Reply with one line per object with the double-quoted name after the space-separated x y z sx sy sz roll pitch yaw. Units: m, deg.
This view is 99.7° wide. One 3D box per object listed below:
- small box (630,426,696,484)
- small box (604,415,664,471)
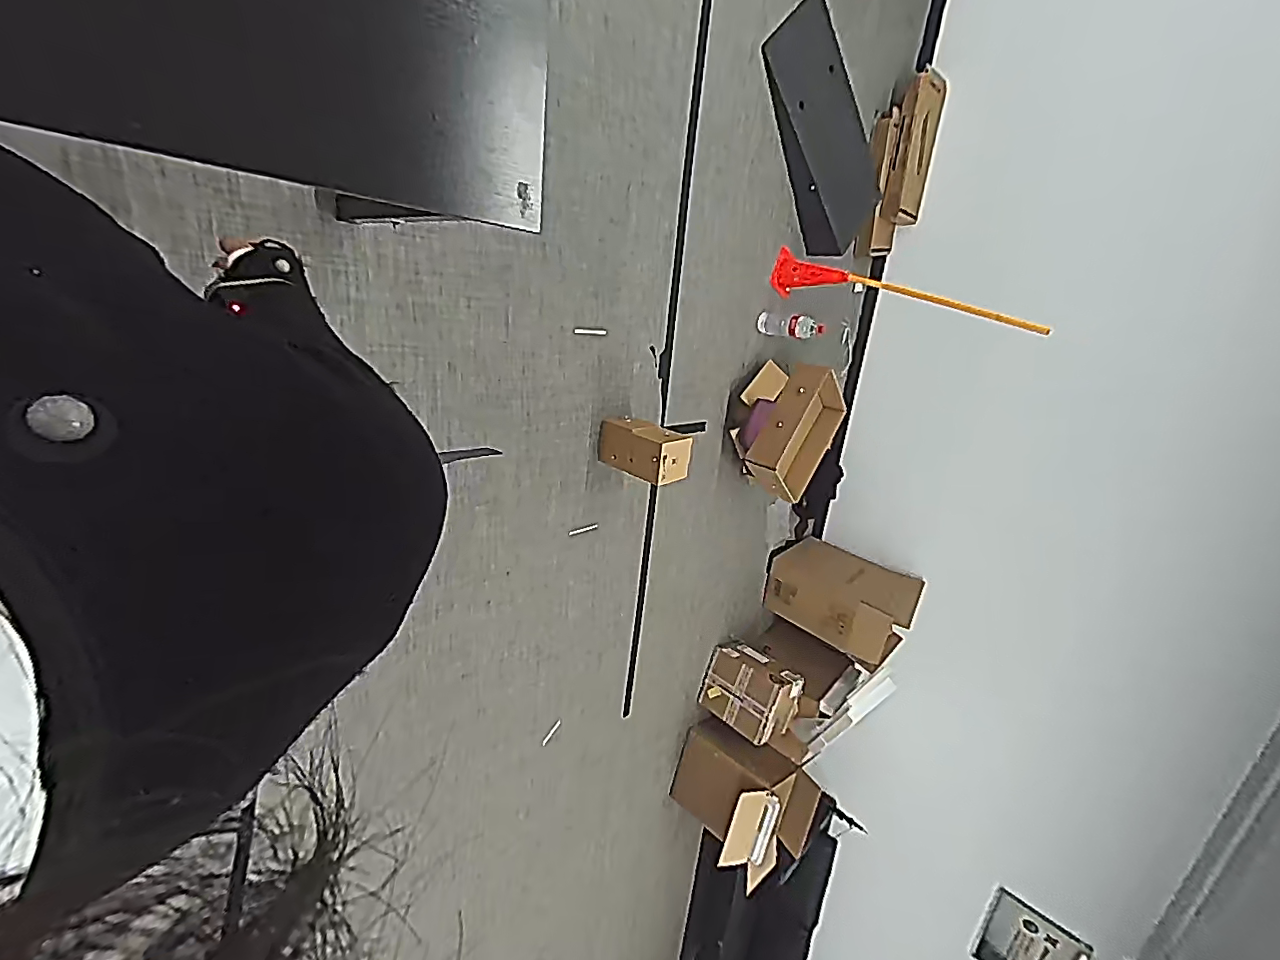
0.088 -0.100 2.048 0.179 0.176 0.168 -16 119 -45 "small box"
-0.028 -0.150 2.153 0.168 0.176 0.179 -14 116 -45 "small box"
